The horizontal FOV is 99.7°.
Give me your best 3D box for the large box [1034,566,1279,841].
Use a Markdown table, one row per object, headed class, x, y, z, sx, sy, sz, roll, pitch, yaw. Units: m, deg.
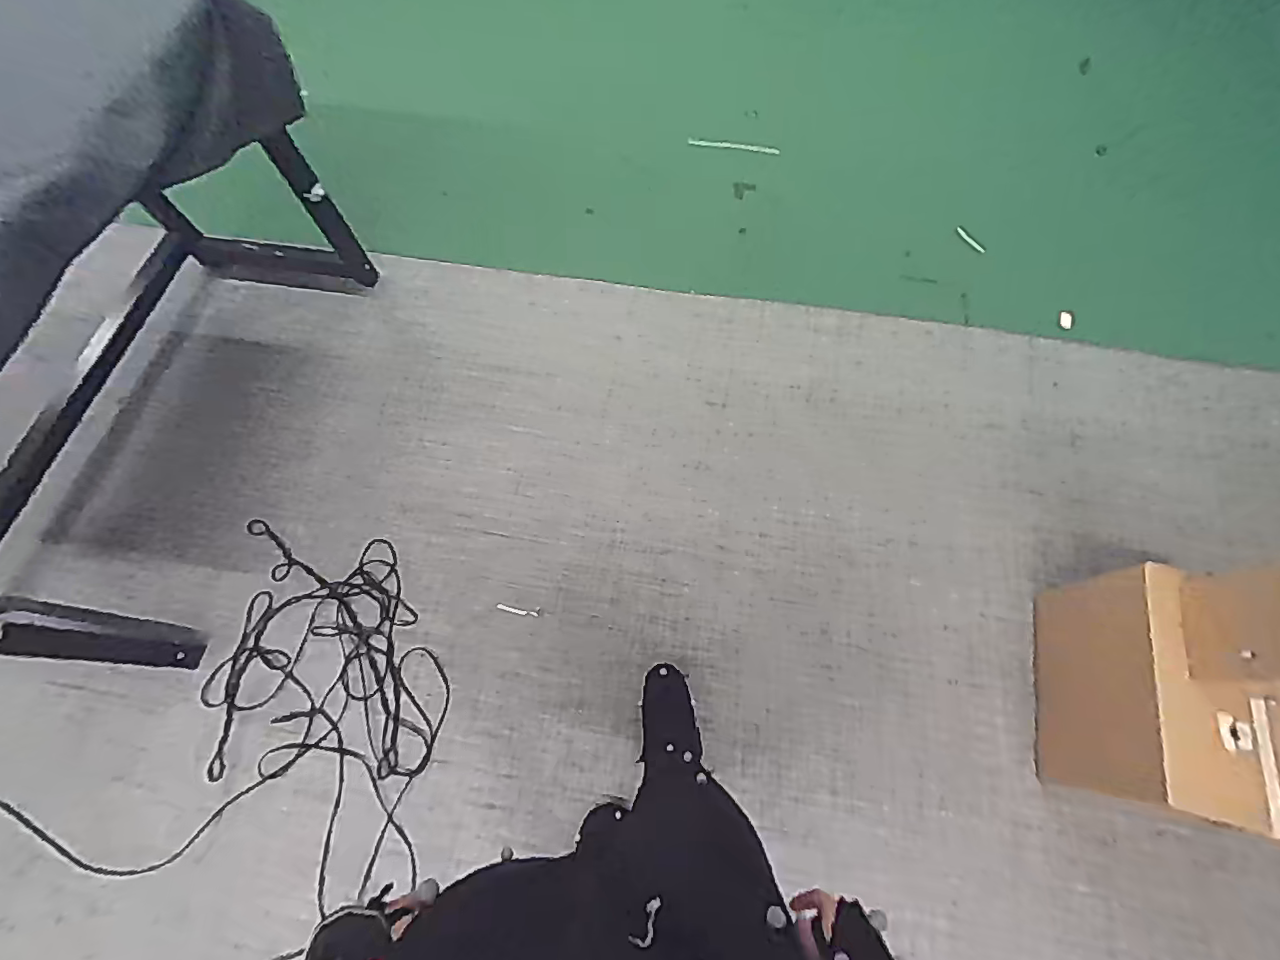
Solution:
| class | x | y | z | sx | sy | sz | roll | pitch | yaw |
| --- | --- | --- | --- | --- | --- | --- | --- | --- | --- |
| large box | 1.010 | 0.414 | 1.030 | 0.320 | 0.320 | 0.408 | 12 | 69 | 7 |
